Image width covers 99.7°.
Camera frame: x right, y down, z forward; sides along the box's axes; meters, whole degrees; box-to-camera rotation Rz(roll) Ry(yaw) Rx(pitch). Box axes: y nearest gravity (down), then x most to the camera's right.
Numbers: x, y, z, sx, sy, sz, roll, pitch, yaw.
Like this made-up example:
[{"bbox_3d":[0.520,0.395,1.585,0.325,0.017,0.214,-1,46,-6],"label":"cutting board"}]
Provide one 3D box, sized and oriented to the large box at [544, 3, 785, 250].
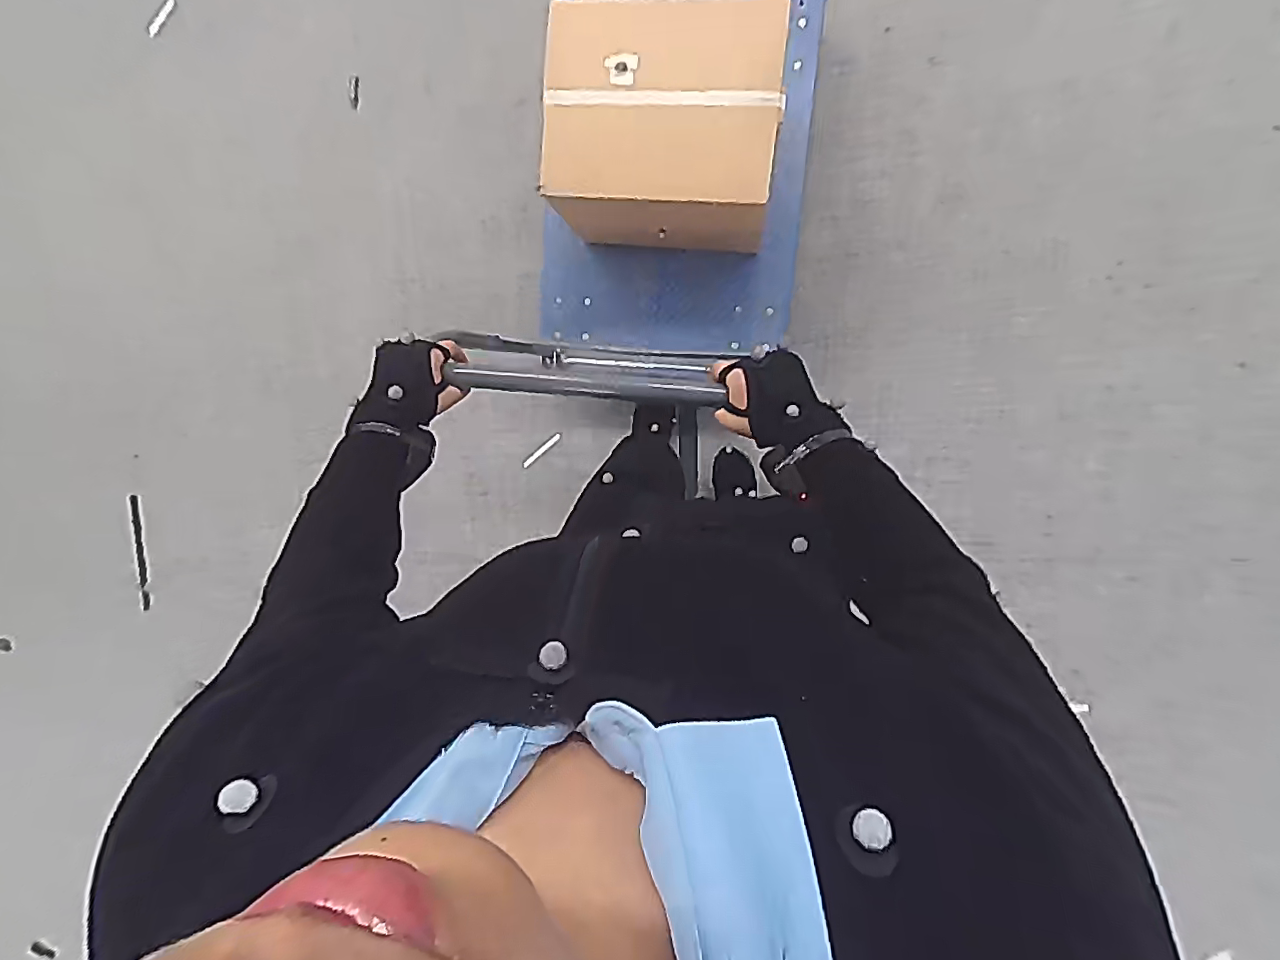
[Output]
[{"bbox_3d":[0.059,-0.658,1.071,0.408,0.320,0.320,7,98,10],"label":"large box"}]
